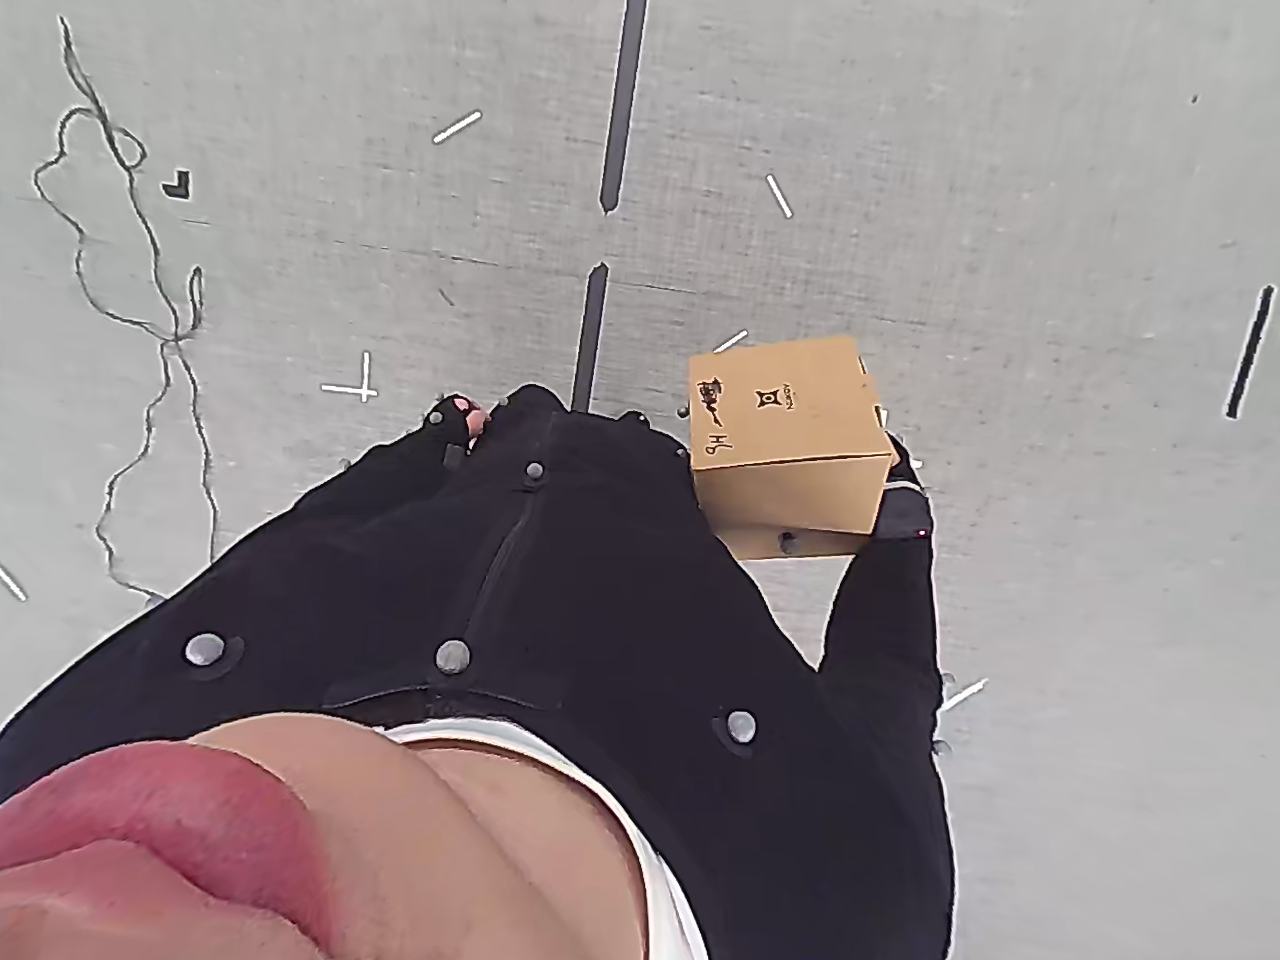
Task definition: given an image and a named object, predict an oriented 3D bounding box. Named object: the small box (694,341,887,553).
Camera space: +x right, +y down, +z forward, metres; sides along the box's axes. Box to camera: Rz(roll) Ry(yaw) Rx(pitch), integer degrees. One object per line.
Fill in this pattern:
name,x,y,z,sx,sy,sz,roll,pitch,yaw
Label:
small box,0.154,-0.031,0.608,0.179,0.168,0.176,-5,140,9
